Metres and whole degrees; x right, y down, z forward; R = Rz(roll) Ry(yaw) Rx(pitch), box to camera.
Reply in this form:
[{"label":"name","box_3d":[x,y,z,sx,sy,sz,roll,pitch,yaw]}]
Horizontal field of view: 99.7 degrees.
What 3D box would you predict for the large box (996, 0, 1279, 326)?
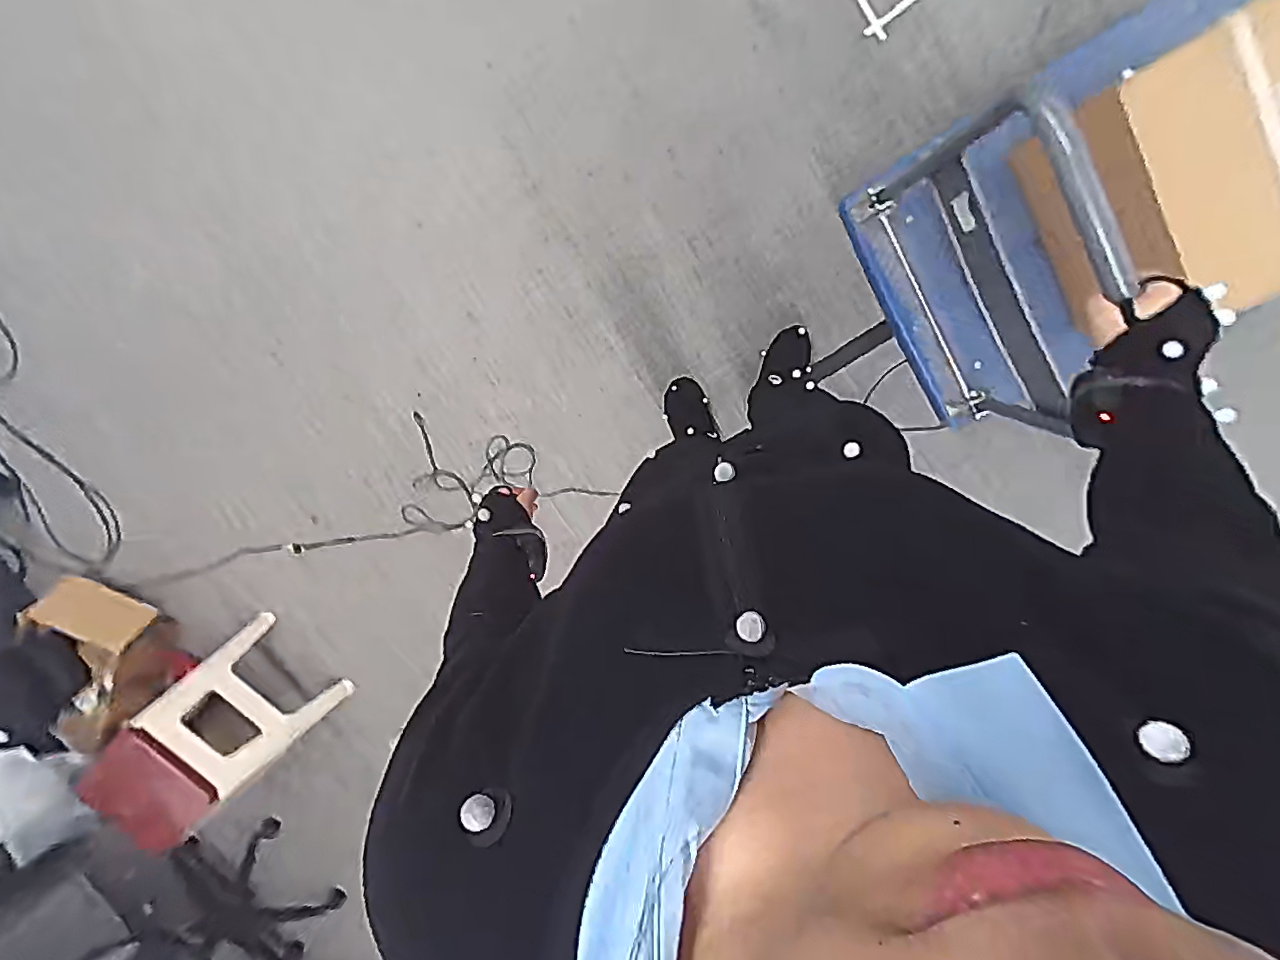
[{"label":"large box","box_3d":[0.944,-0.537,0.974,0.320,0.320,0.408,-29,98,11]}]
